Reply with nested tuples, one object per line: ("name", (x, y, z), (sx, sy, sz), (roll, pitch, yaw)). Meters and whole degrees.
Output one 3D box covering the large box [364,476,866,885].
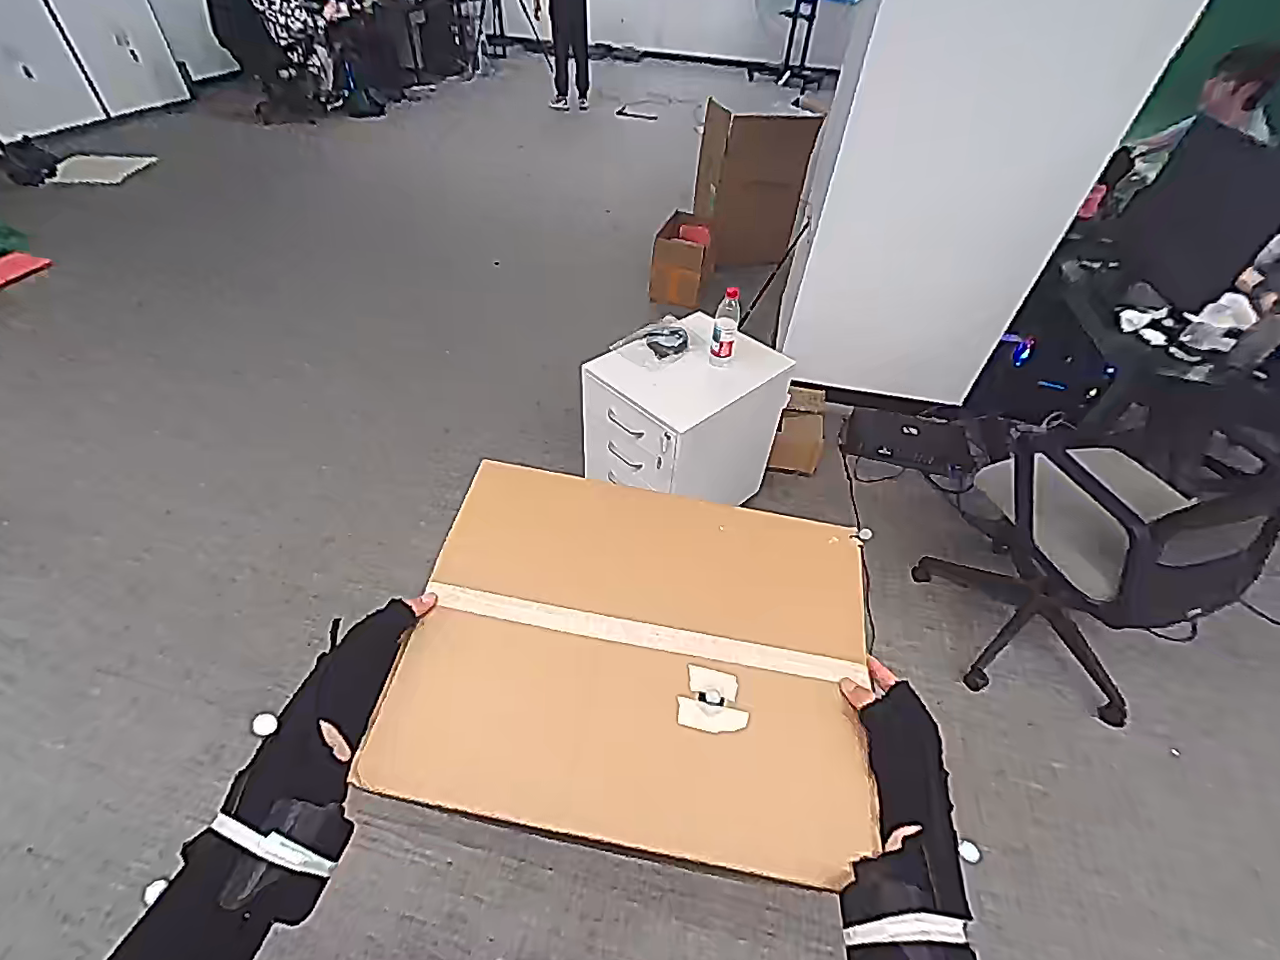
("large box", (-0.012, 0.234, 0.620), (0.408, 0.320, 0.320), (11, 56, 2))
